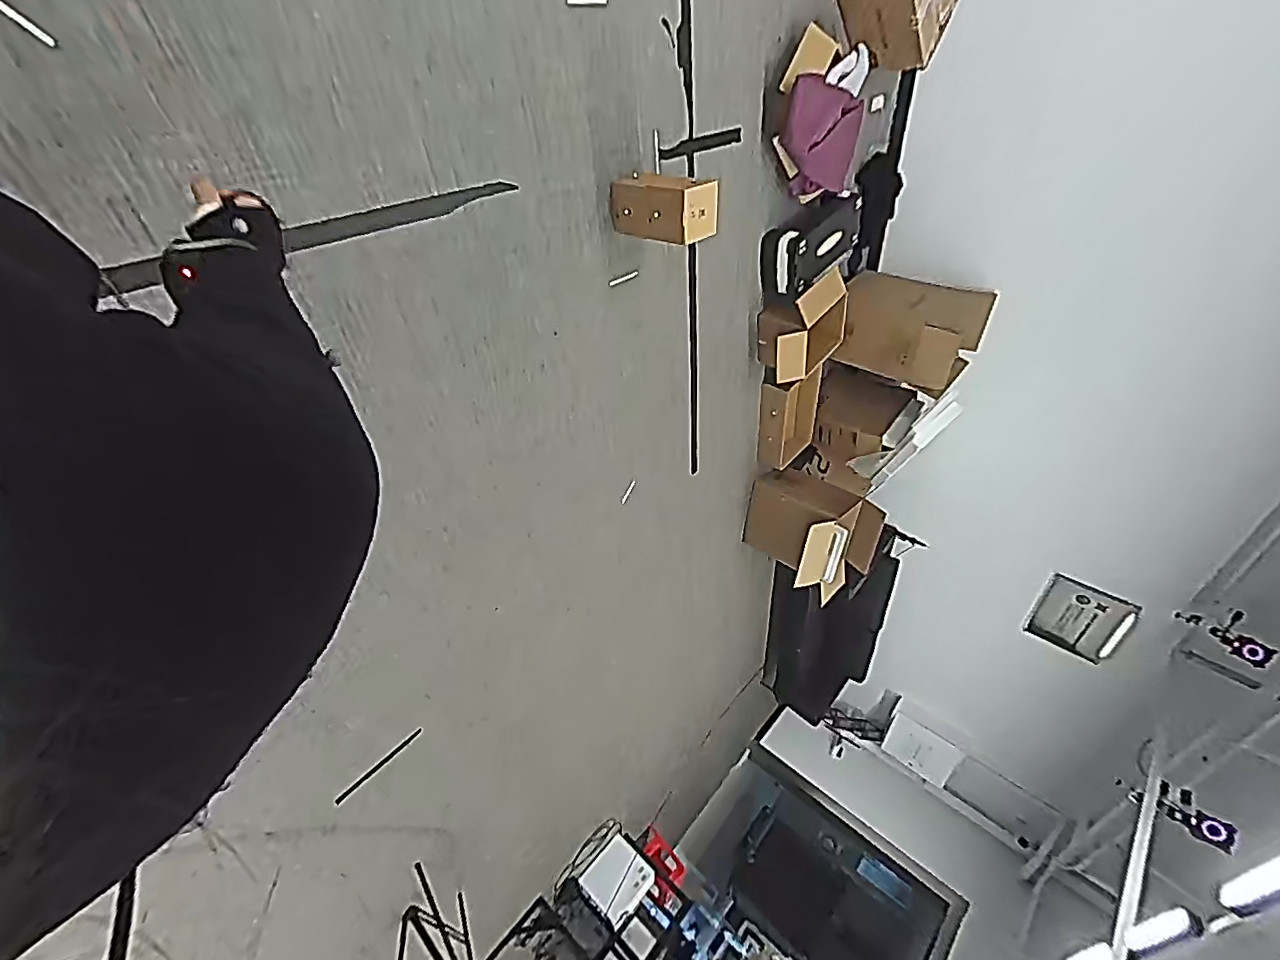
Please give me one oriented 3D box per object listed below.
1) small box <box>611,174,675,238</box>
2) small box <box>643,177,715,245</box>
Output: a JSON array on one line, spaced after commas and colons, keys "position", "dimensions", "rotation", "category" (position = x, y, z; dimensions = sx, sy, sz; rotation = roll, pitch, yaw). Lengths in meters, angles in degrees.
[{"position": [0.012, -0.964, 1.896], "dimensions": [0.179, 0.176, 0.168], "rotation": [-36, 138, -32], "category": "small box"}, {"position": [0.129, -0.899, 1.797], "dimensions": [0.179, 0.176, 0.168], "rotation": [-35, 137, -34], "category": "small box"}]
